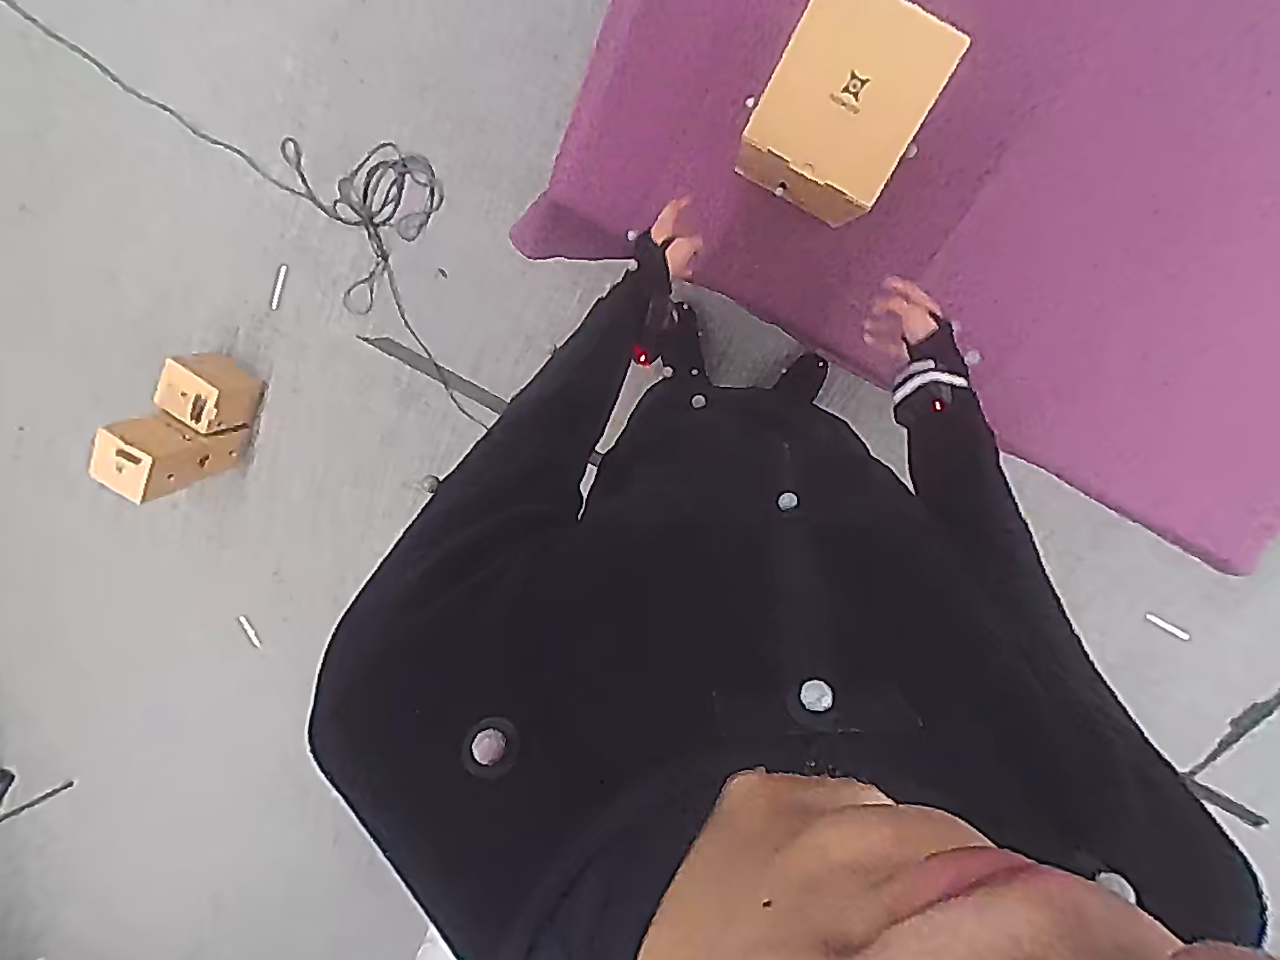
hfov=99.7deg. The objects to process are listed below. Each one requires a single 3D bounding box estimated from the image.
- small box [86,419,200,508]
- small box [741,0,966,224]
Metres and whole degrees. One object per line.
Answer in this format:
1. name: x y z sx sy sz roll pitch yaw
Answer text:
1. small box: -1.439 -0.056 1.577 0.168 0.176 0.179 33 111 -5
2. small box: 0.232 -0.435 0.647 0.168 0.176 0.179 27 111 -3
